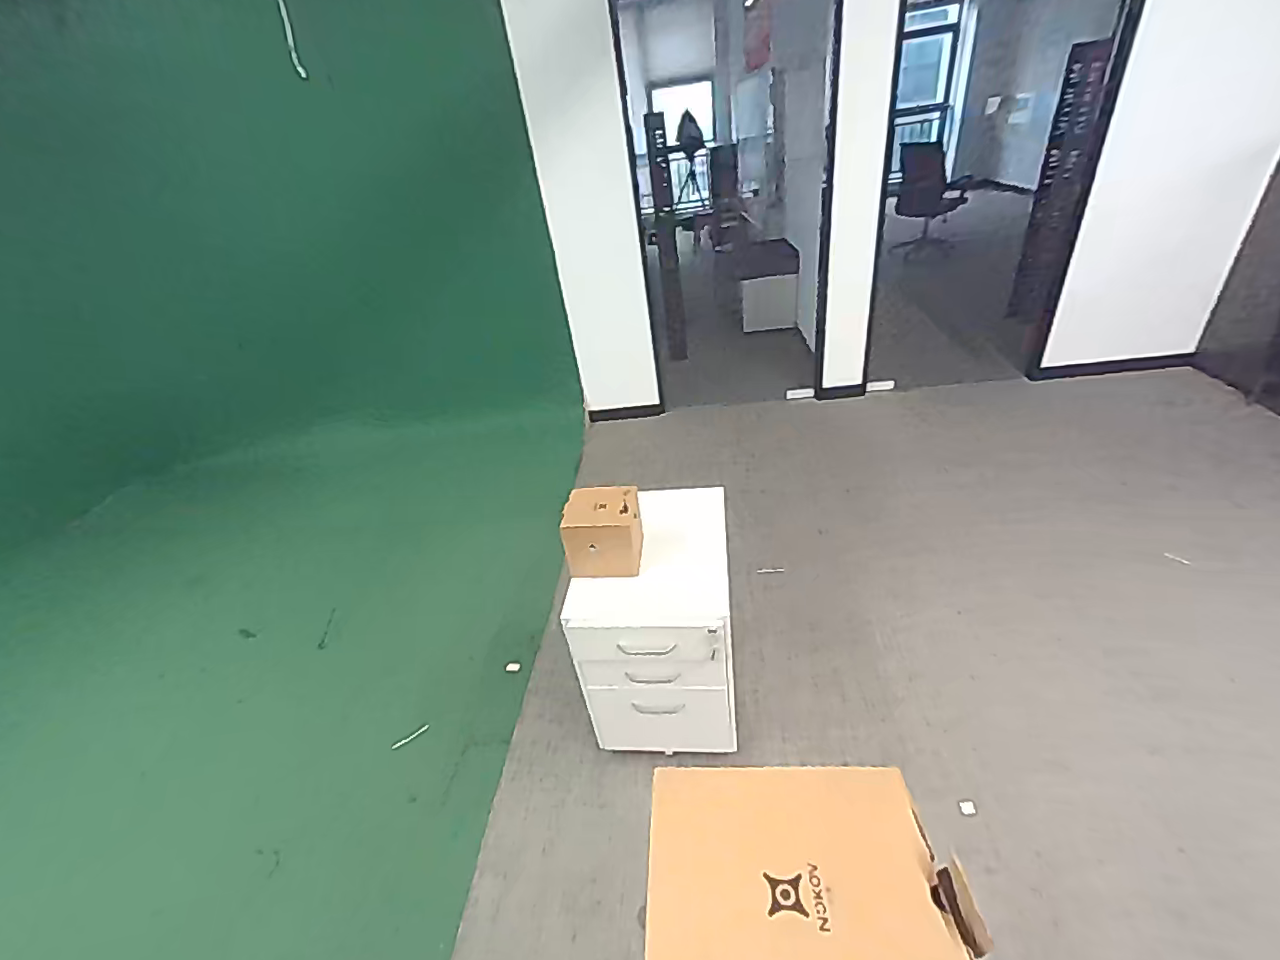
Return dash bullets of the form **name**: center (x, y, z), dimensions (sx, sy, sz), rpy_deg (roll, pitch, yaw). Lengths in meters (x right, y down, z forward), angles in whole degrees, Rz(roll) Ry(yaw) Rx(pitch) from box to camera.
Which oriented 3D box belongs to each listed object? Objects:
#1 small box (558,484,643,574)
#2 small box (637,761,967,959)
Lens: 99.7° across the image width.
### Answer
- **small box**: center (-0.094, 0.127, 1.382), dimensions (0.179, 0.176, 0.168), rpy_deg (-3, 34, 8)
- **small box**: center (0.096, 0.313, 0.354), dimensions (0.179, 0.176, 0.168), rpy_deg (-3, 26, 6)
